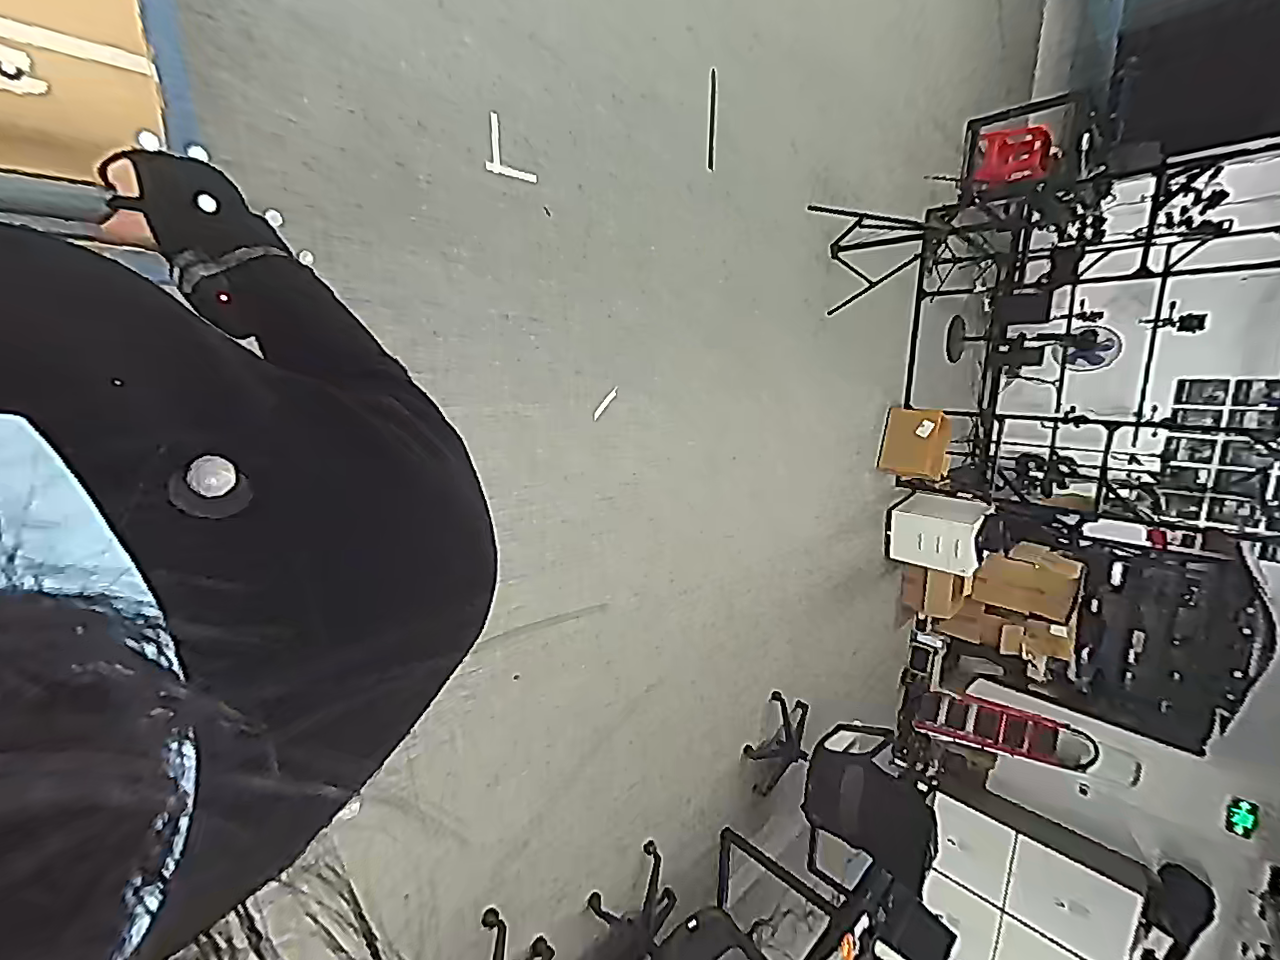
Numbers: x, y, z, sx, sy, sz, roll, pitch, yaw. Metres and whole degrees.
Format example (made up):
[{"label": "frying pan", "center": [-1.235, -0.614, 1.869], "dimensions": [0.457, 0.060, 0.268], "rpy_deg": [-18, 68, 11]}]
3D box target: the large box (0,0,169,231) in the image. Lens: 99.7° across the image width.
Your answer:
[{"label": "large box", "center": [-0.909, -0.531, 0.689], "dimensions": [0.408, 0.320, 0.320], "rpy_deg": [-13, 109, -44]}]
